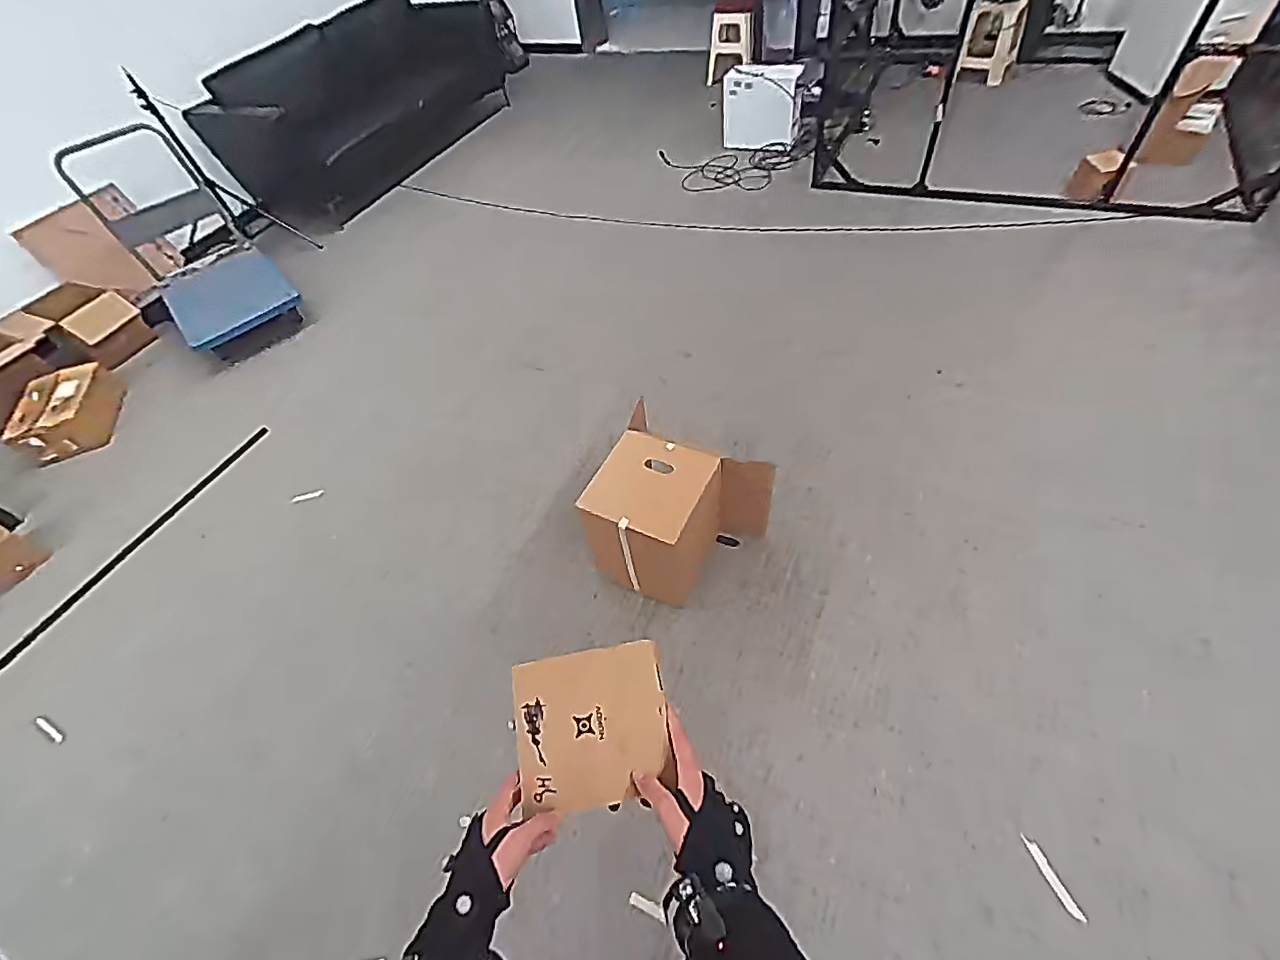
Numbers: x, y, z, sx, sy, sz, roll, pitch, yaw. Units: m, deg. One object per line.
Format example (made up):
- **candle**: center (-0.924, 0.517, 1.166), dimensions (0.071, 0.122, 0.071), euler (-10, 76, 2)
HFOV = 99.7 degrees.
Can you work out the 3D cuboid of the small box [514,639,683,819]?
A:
- **small box**: center (-0.051, 0.309, 0.687), dimensions (0.179, 0.176, 0.168), euler (-10, 64, -3)
